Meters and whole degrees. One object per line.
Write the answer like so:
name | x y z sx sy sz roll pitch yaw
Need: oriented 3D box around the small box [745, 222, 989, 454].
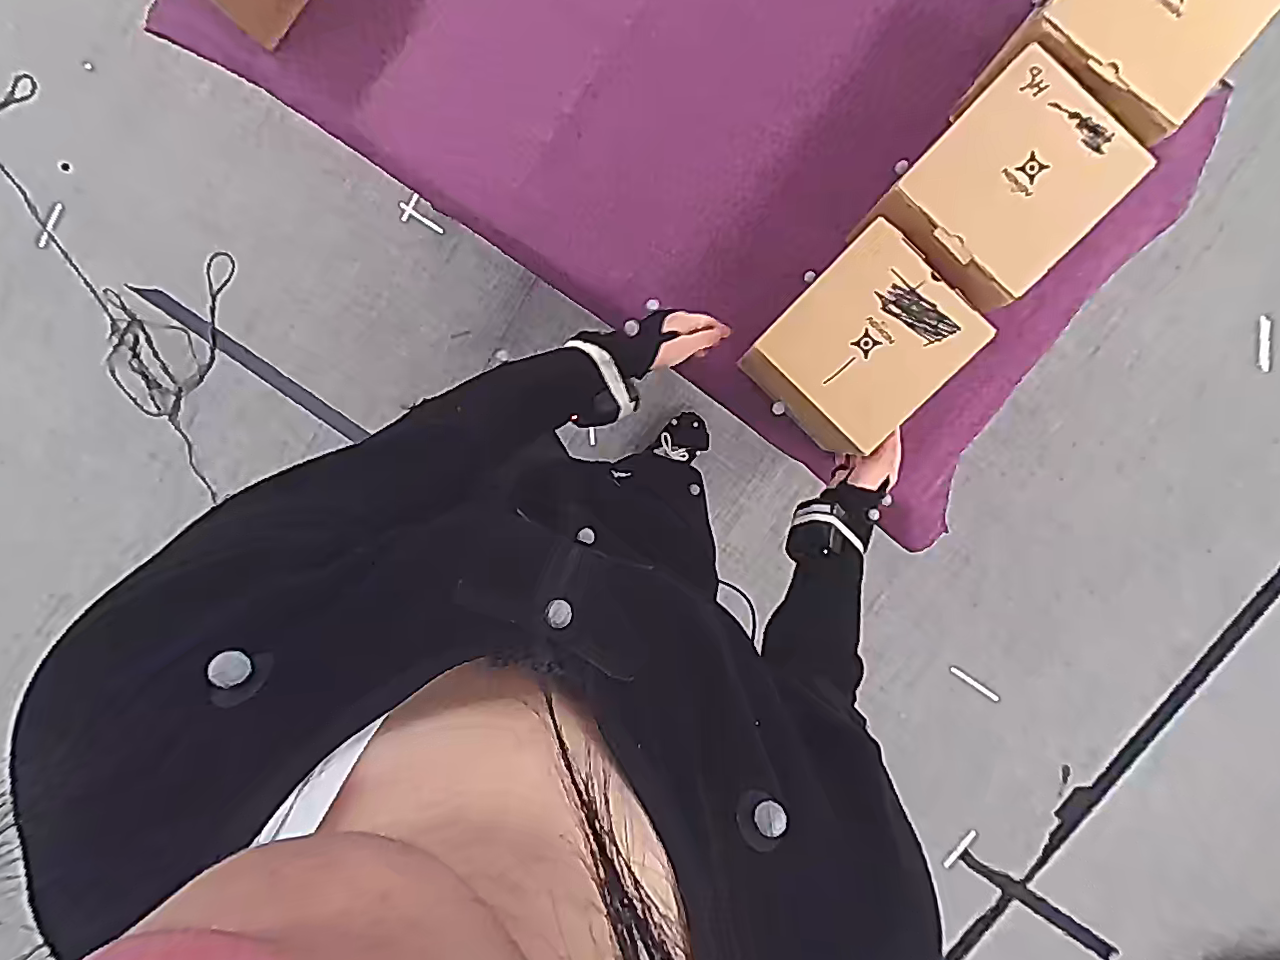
small box | 0.241 -0.151 0.628 0.179 0.176 0.168 -44 90 8

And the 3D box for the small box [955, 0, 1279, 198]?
small box | 0.486 -0.448 0.574 0.168 0.176 0.179 38 97 -2
